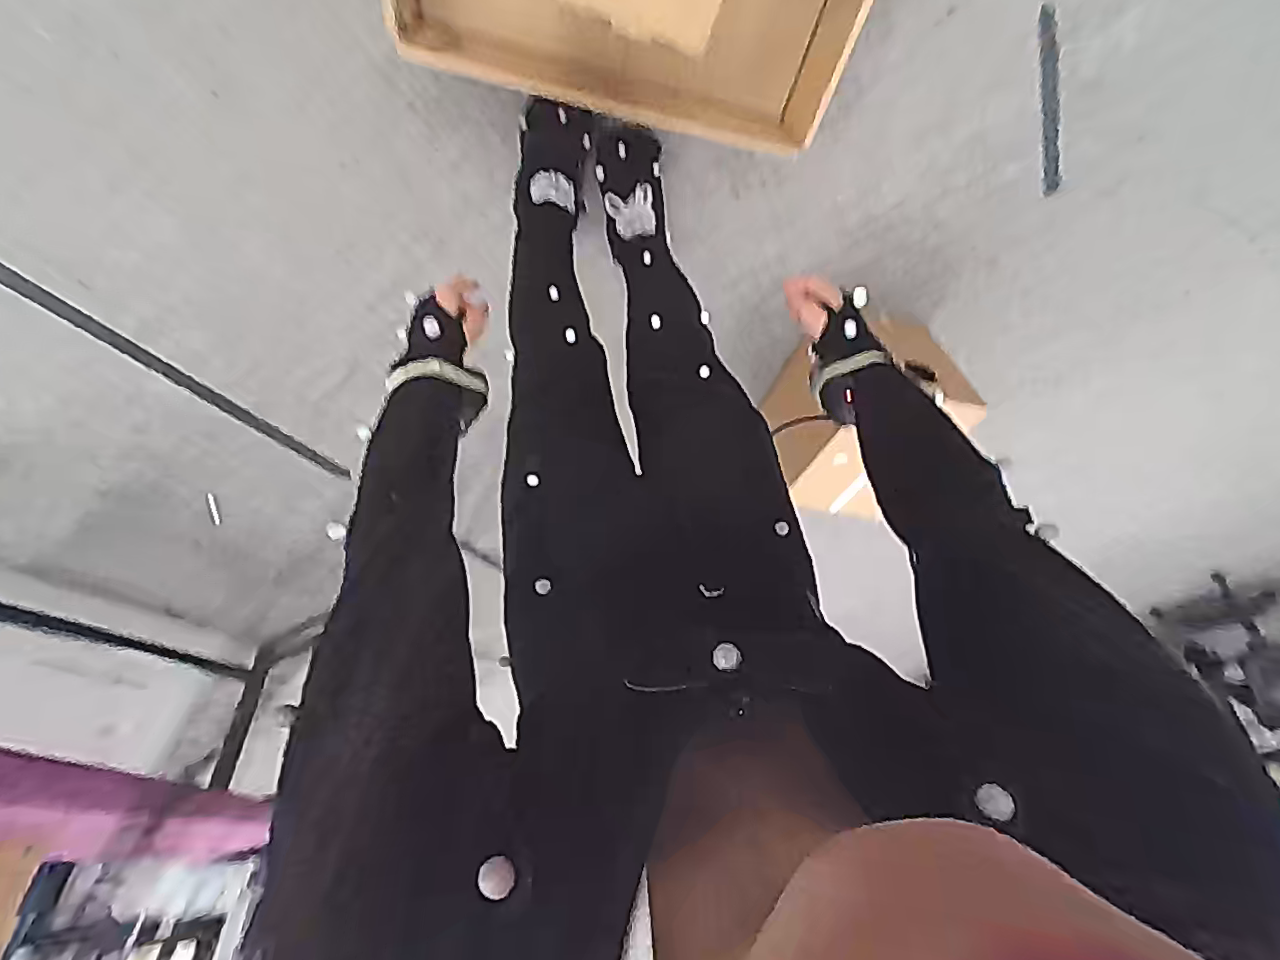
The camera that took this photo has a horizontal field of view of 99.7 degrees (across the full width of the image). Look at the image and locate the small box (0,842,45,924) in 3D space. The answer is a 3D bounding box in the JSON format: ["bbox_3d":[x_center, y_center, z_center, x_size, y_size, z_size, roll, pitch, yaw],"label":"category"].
[{"bbox_3d":[-1.670,1.021,1.356,0.179,0.176,0.168,-26,136,19],"label":"small box"}]

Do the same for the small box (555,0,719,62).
[{"bbox_3d":[0.008,-0.592,0.569,0.168,0.176,0.179,7,137,-19],"label":"small box"}]
